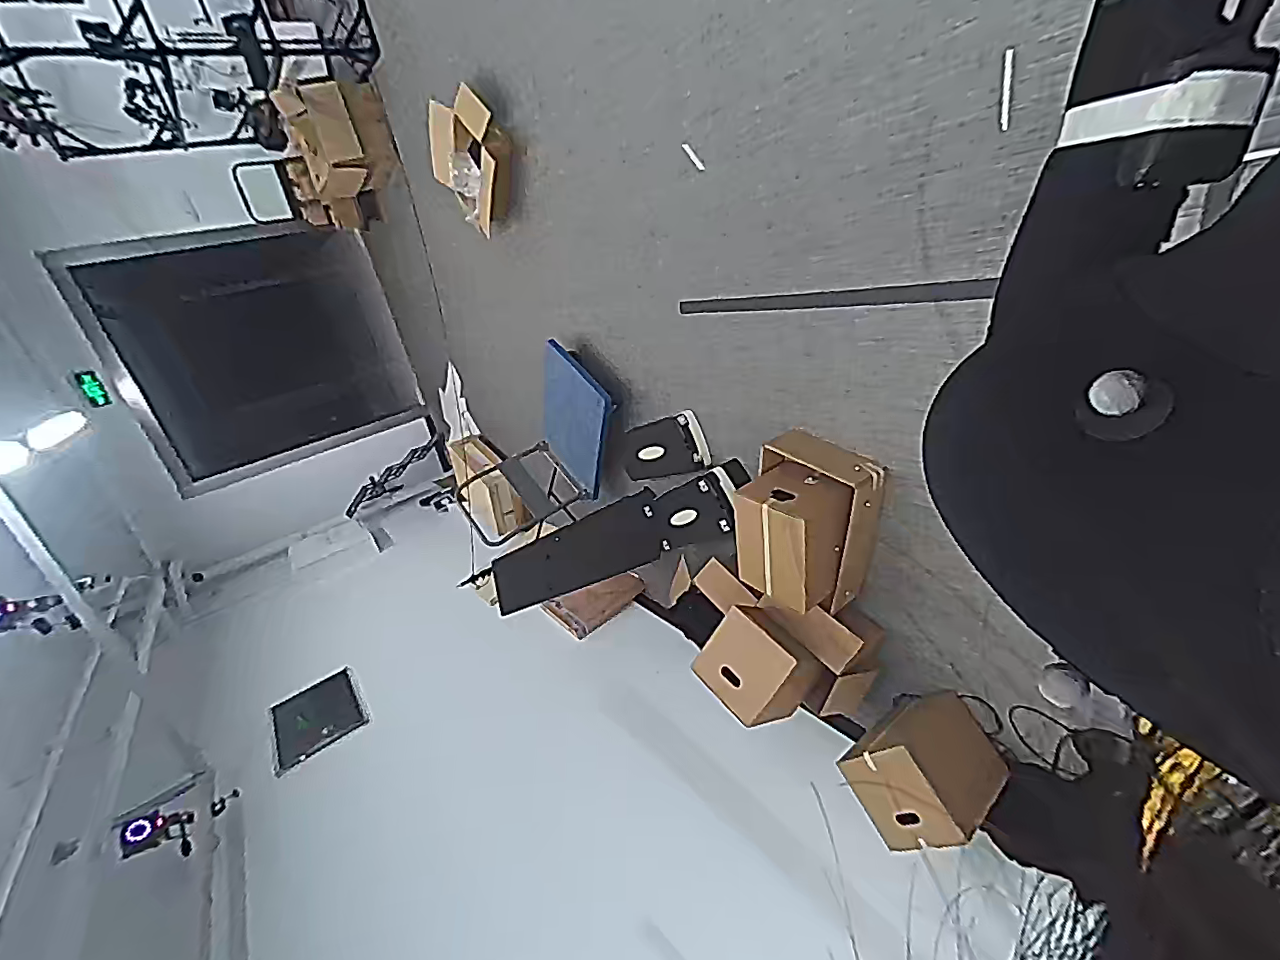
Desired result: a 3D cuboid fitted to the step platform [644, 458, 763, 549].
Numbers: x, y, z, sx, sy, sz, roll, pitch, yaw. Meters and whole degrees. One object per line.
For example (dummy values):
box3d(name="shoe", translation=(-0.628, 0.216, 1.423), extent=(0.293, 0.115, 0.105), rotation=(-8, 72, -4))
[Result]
box3d(name="step platform", translation=(0.275, 0.135, 2.609), extent=(0.286, 0.204, 0.684), rotation=(62, 150, 2))
